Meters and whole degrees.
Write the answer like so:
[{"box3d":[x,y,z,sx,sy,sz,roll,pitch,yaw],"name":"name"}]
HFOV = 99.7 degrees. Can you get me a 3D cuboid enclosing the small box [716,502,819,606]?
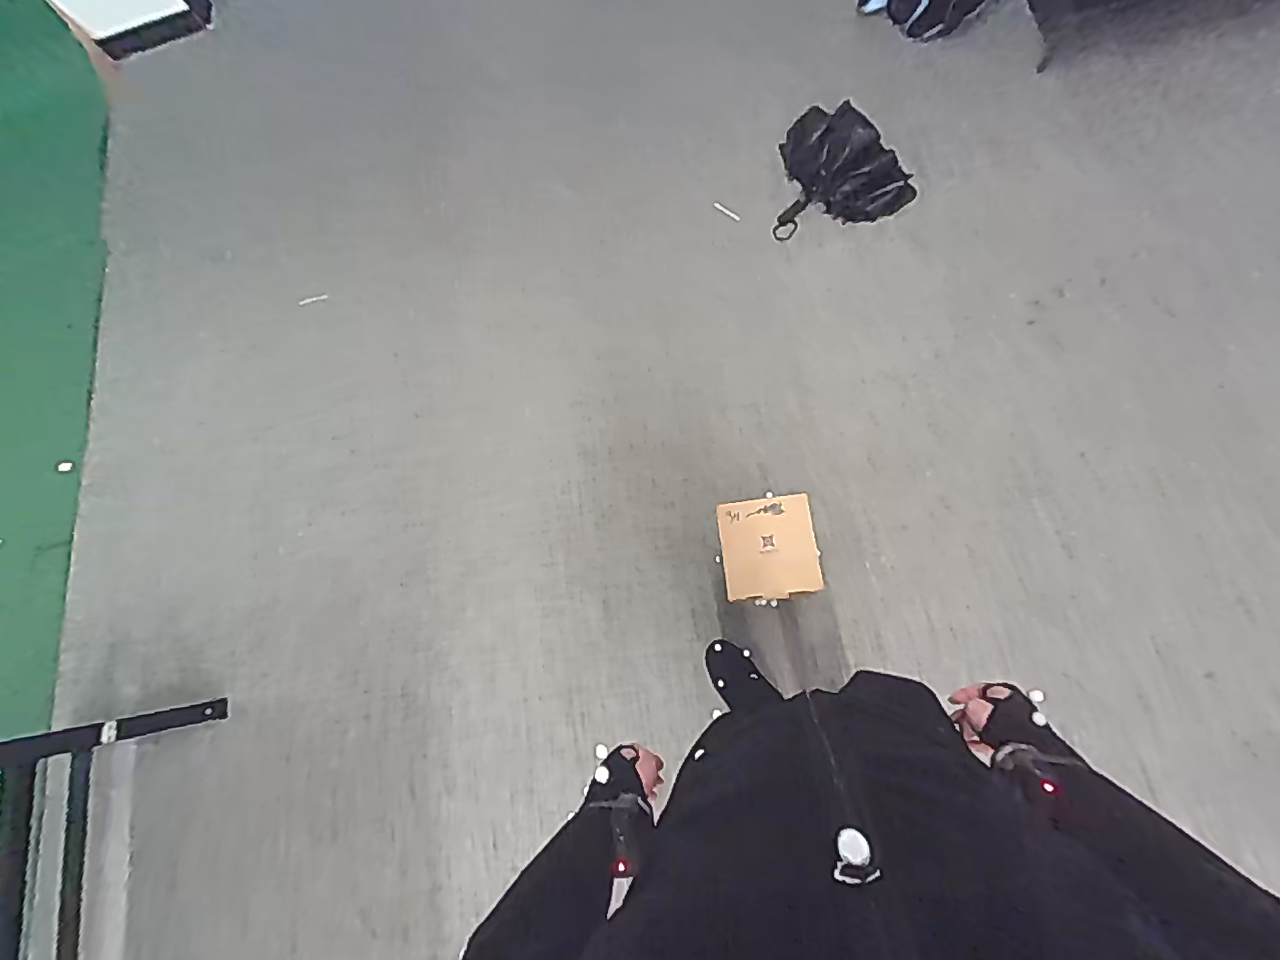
[{"box3d":[0.241,0.148,1.045,0.168,0.176,0.179,-7,76,9],"name":"small box"}]
